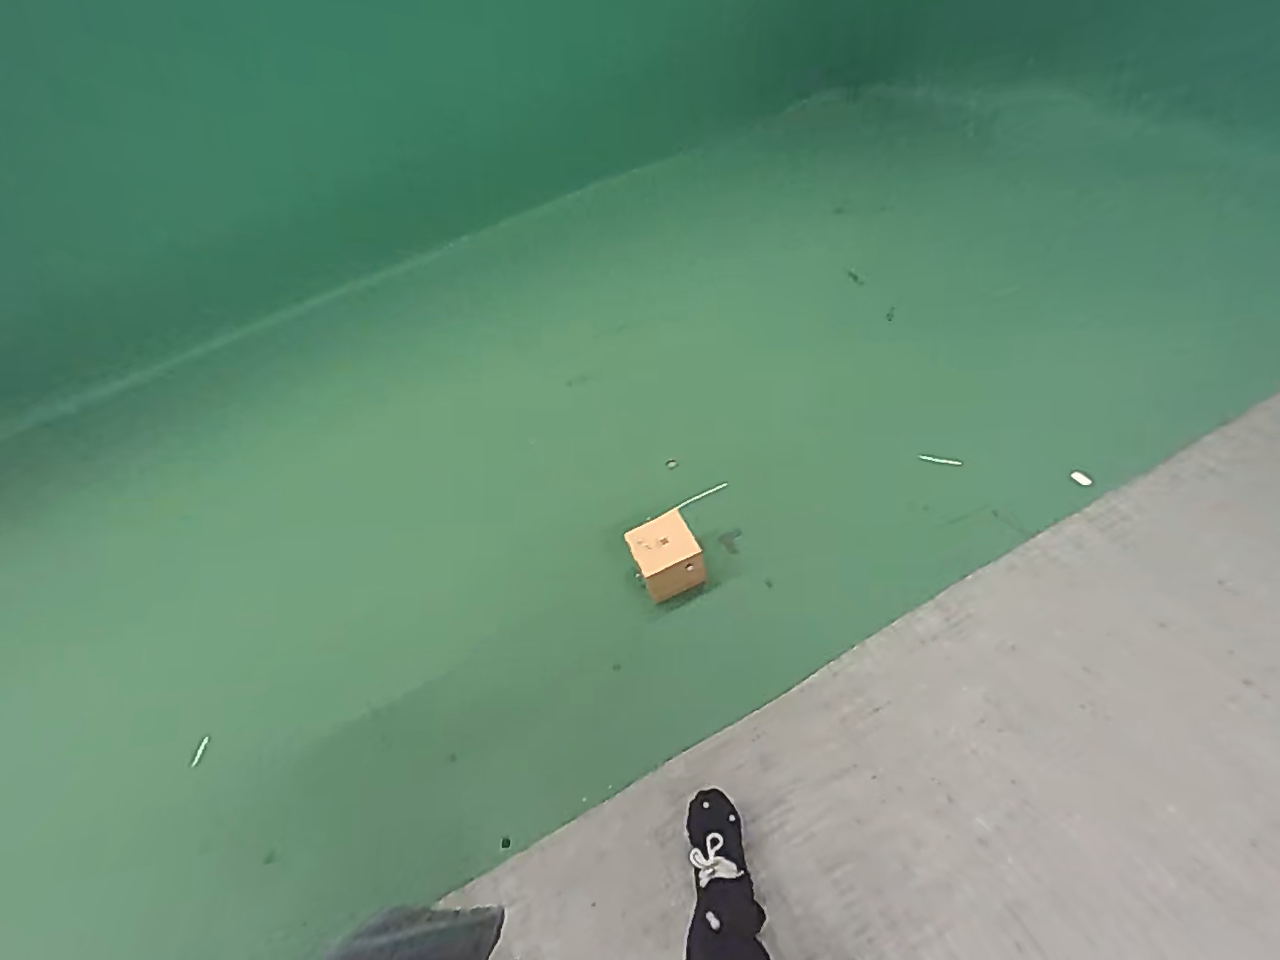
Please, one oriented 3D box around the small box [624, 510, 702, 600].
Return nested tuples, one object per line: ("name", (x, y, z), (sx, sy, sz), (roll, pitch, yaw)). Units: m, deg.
("small box", (0.075, 0.225, 1.599), (0.179, 0.176, 0.168), (-25, 50, -6))
